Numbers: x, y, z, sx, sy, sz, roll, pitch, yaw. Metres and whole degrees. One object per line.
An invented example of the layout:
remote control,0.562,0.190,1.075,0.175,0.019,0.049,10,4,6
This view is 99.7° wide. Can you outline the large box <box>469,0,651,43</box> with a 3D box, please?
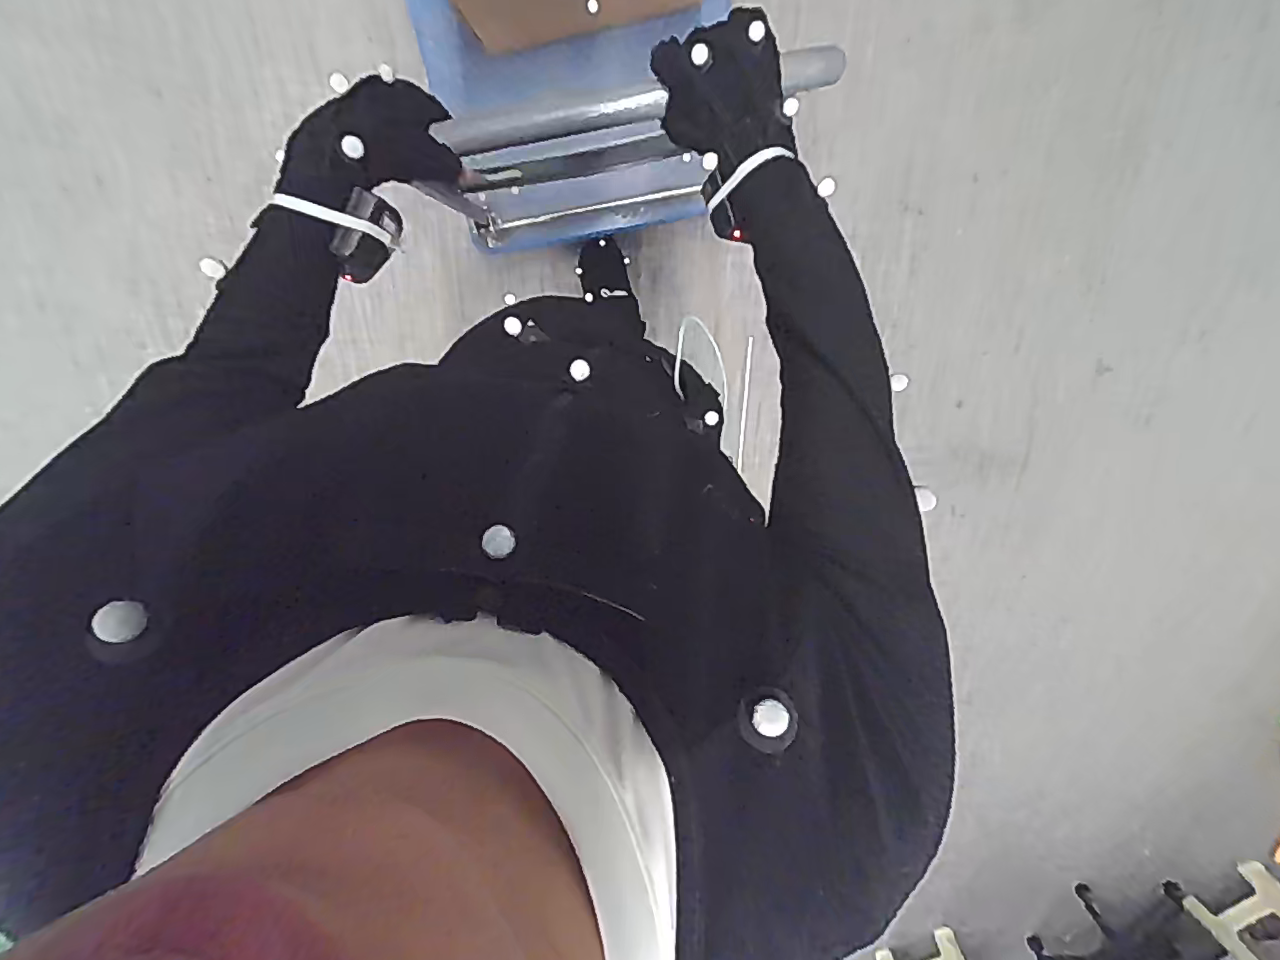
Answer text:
large box,-0.103,-0.932,0.803,0.408,0.320,0.320,-12,112,5
